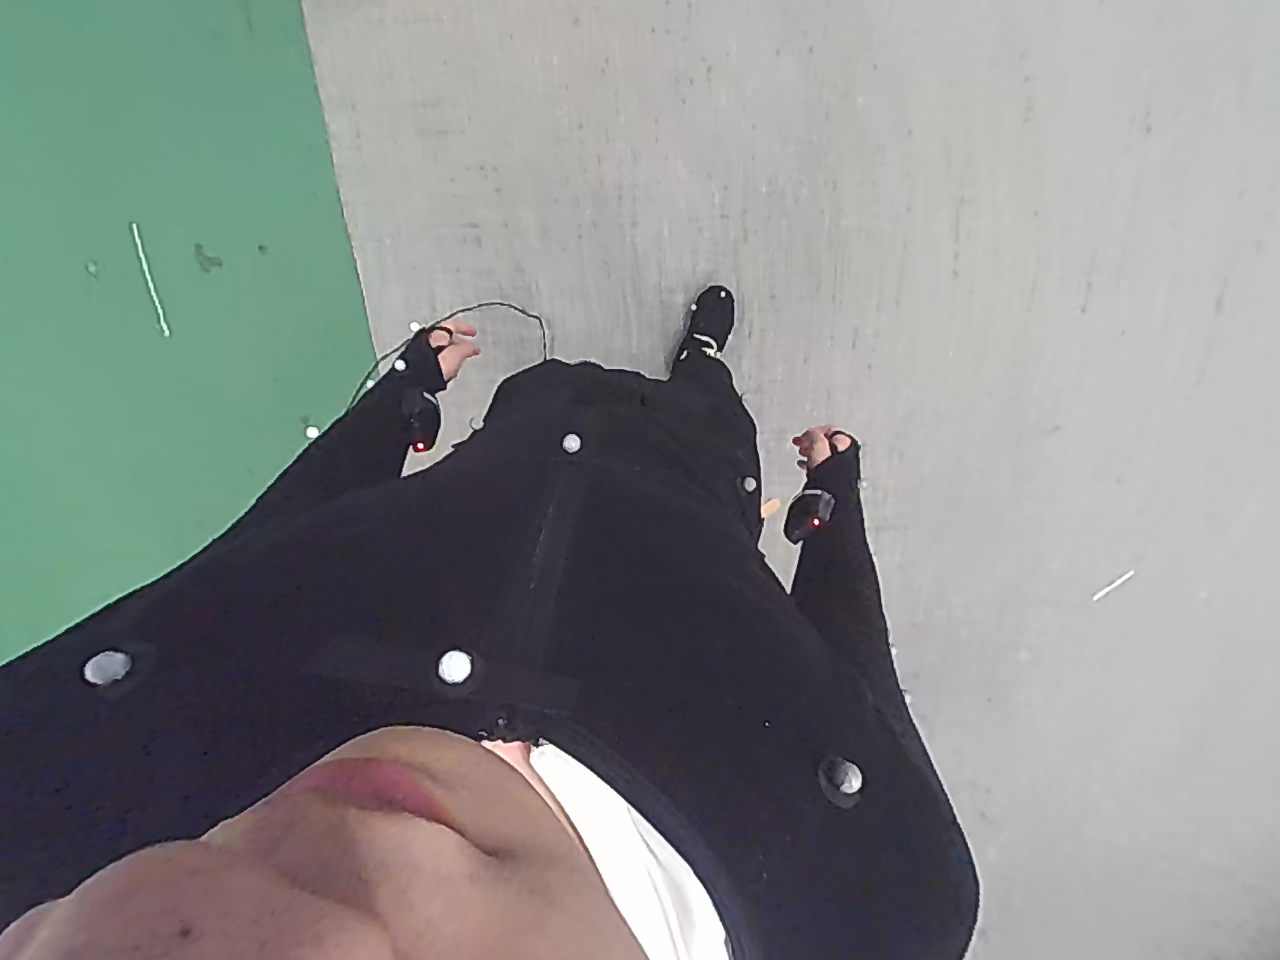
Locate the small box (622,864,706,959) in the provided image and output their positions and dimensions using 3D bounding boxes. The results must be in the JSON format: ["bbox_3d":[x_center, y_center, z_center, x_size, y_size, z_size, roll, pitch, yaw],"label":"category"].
[{"bbox_3d":[0.056,0.953,1.142,0.168,0.176,0.179,-1,109,7],"label":"small box"}]

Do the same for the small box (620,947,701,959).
[{"bbox_3d":[0.041,1.002,0.989,0.168,0.176,0.179,-2,109,7],"label":"small box"}]
